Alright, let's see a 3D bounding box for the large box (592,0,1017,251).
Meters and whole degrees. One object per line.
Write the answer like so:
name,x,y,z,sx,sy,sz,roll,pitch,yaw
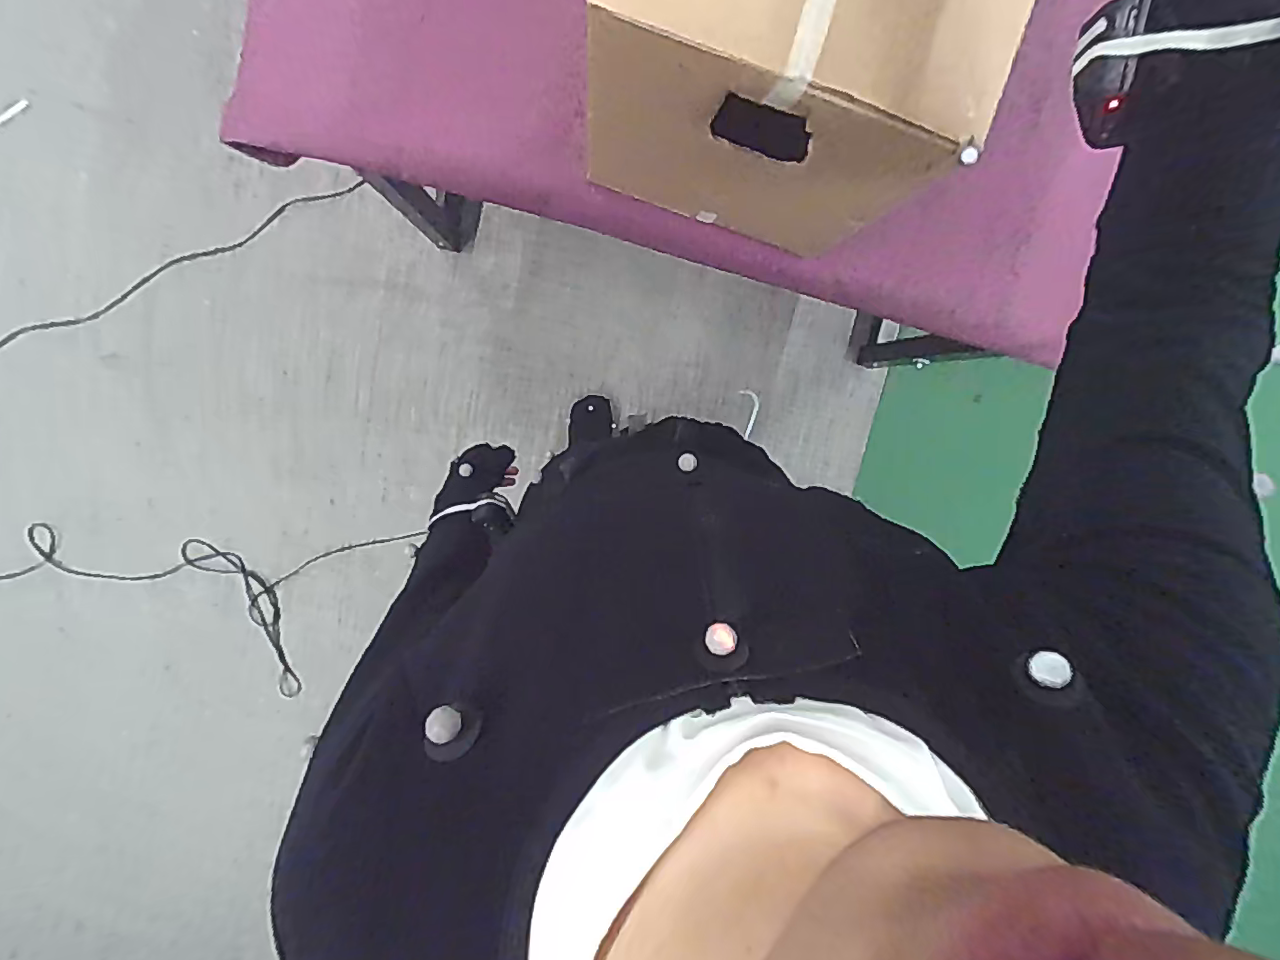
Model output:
large box,0.152,-0.507,0.535,0.320,0.320,0.408,16,98,-7
